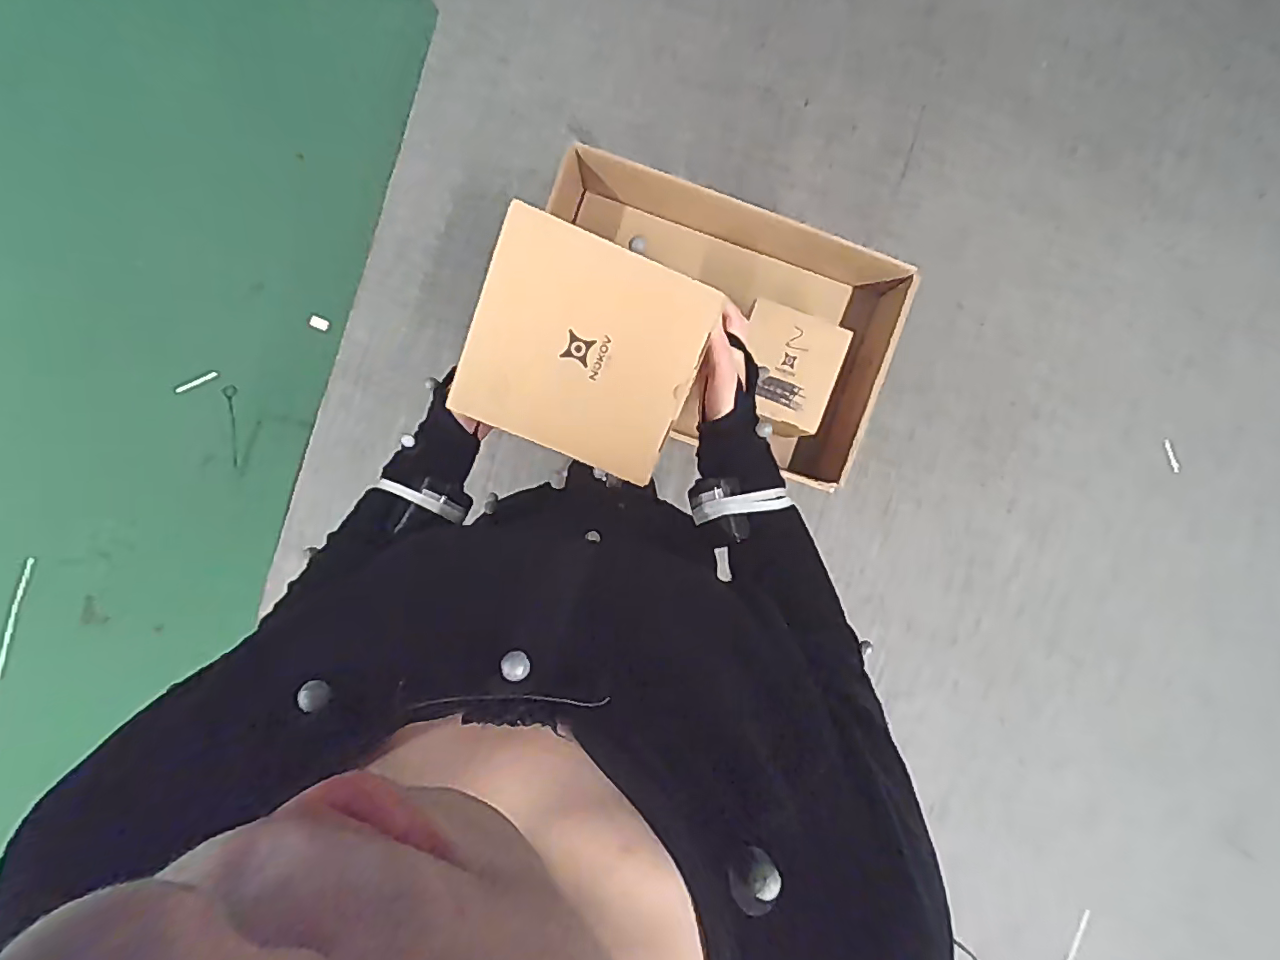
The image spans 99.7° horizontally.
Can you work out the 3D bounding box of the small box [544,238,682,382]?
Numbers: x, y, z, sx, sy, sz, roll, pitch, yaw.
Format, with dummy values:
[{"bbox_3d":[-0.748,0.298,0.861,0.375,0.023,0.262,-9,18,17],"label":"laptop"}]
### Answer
[{"bbox_3d":[-0.044,-0.280,0.935,0.179,0.176,0.168,21,93,-2],"label":"small box"}]
